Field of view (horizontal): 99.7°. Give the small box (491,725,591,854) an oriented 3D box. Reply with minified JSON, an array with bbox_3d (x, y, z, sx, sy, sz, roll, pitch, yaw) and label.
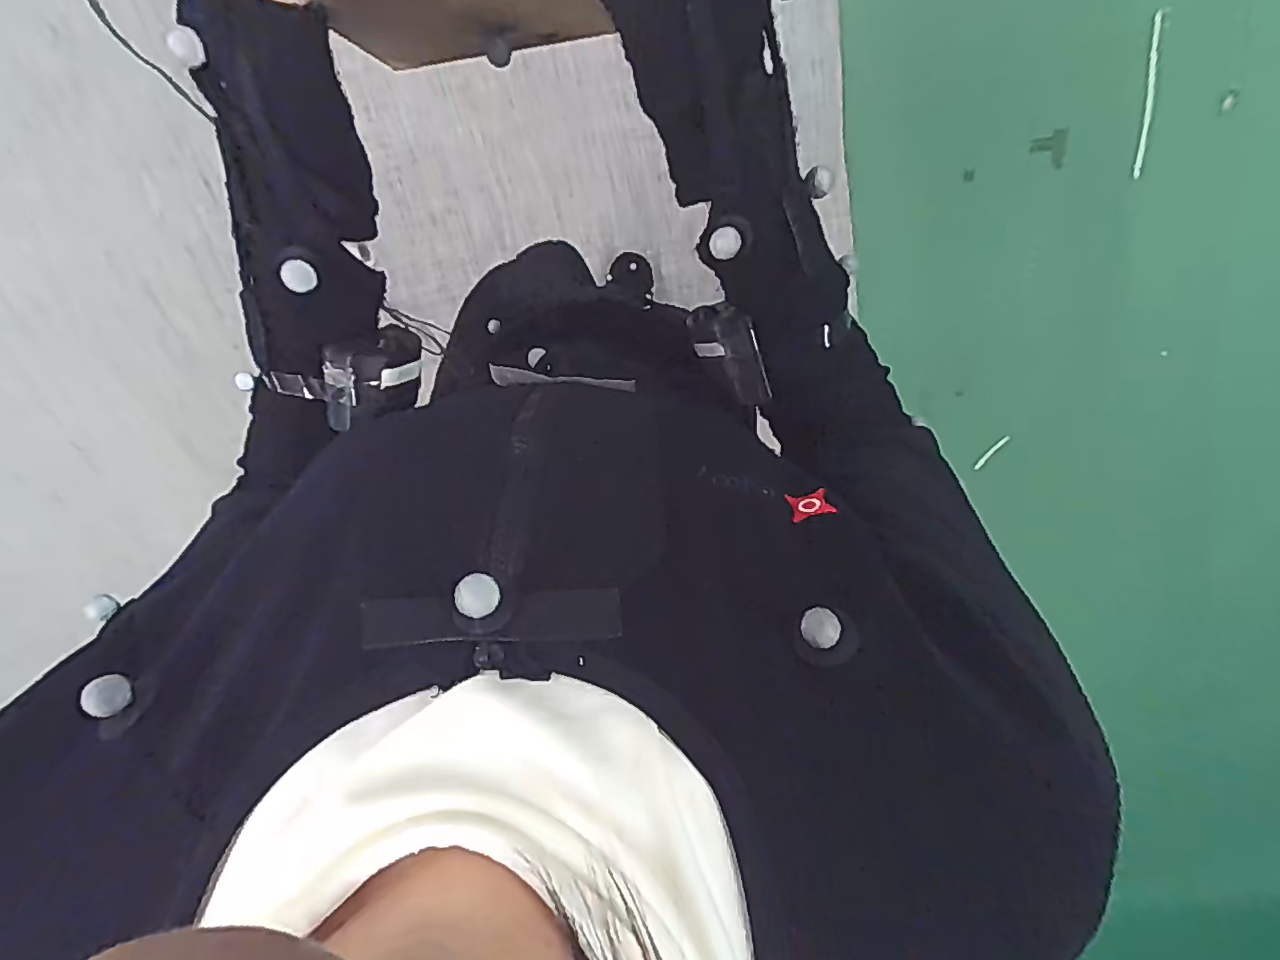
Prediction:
[{"bbox_3d":[-0.217,0.705,1.242,0.168,0.176,0.179,-19,111,5],"label":"small box"}]

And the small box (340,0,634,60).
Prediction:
[{"bbox_3d":[-0.090,-0.326,0.241,0.168,0.176,0.179,-9,117,2],"label":"small box"}]
